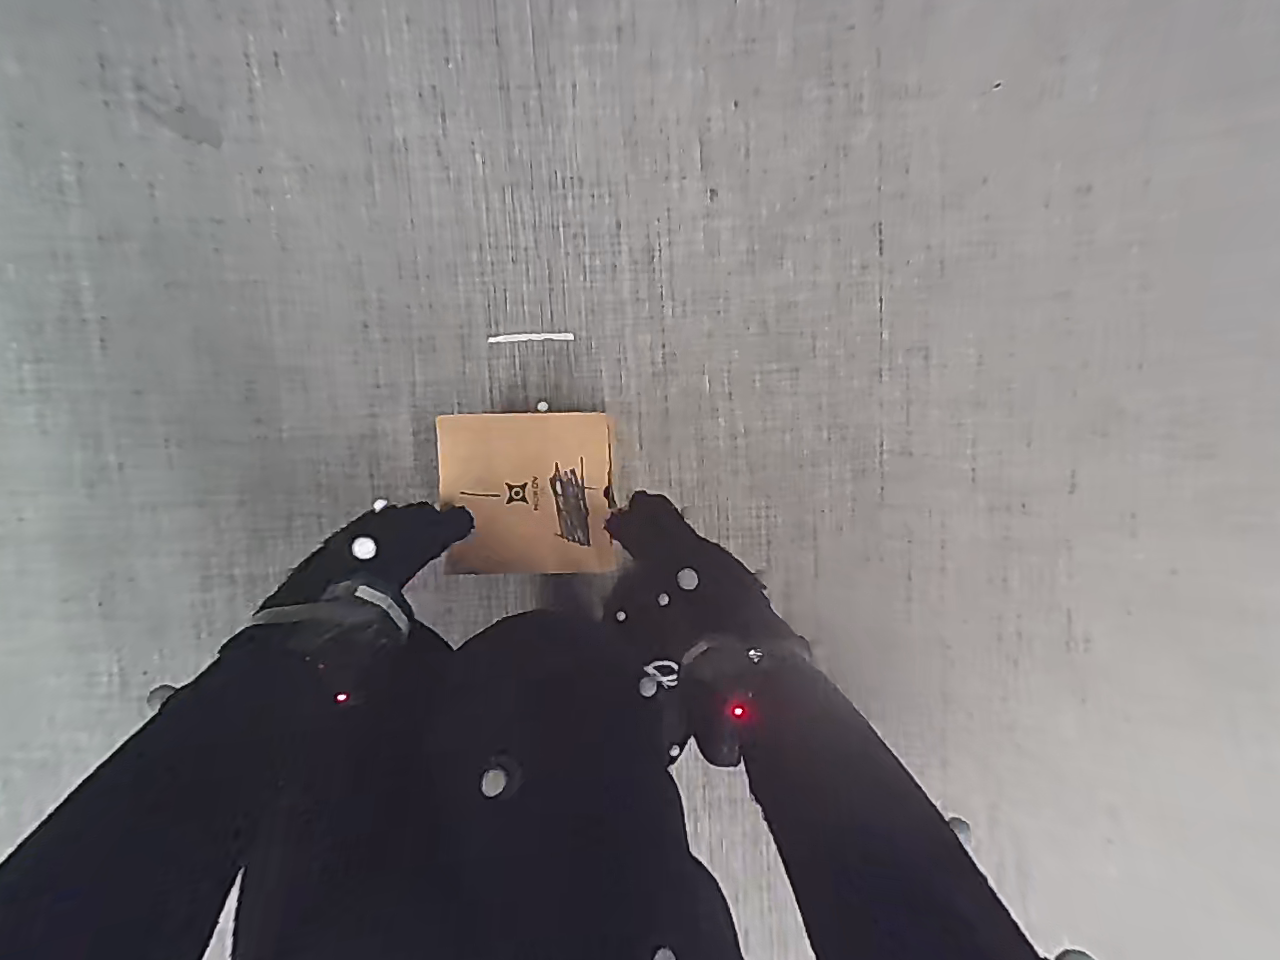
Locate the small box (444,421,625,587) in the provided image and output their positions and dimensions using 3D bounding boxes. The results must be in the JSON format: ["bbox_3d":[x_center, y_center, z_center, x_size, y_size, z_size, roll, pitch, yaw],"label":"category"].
[{"bbox_3d":[-0.111,0.017,0.634,0.179,0.176,0.168,-4,95,-1],"label":"small box"}]
